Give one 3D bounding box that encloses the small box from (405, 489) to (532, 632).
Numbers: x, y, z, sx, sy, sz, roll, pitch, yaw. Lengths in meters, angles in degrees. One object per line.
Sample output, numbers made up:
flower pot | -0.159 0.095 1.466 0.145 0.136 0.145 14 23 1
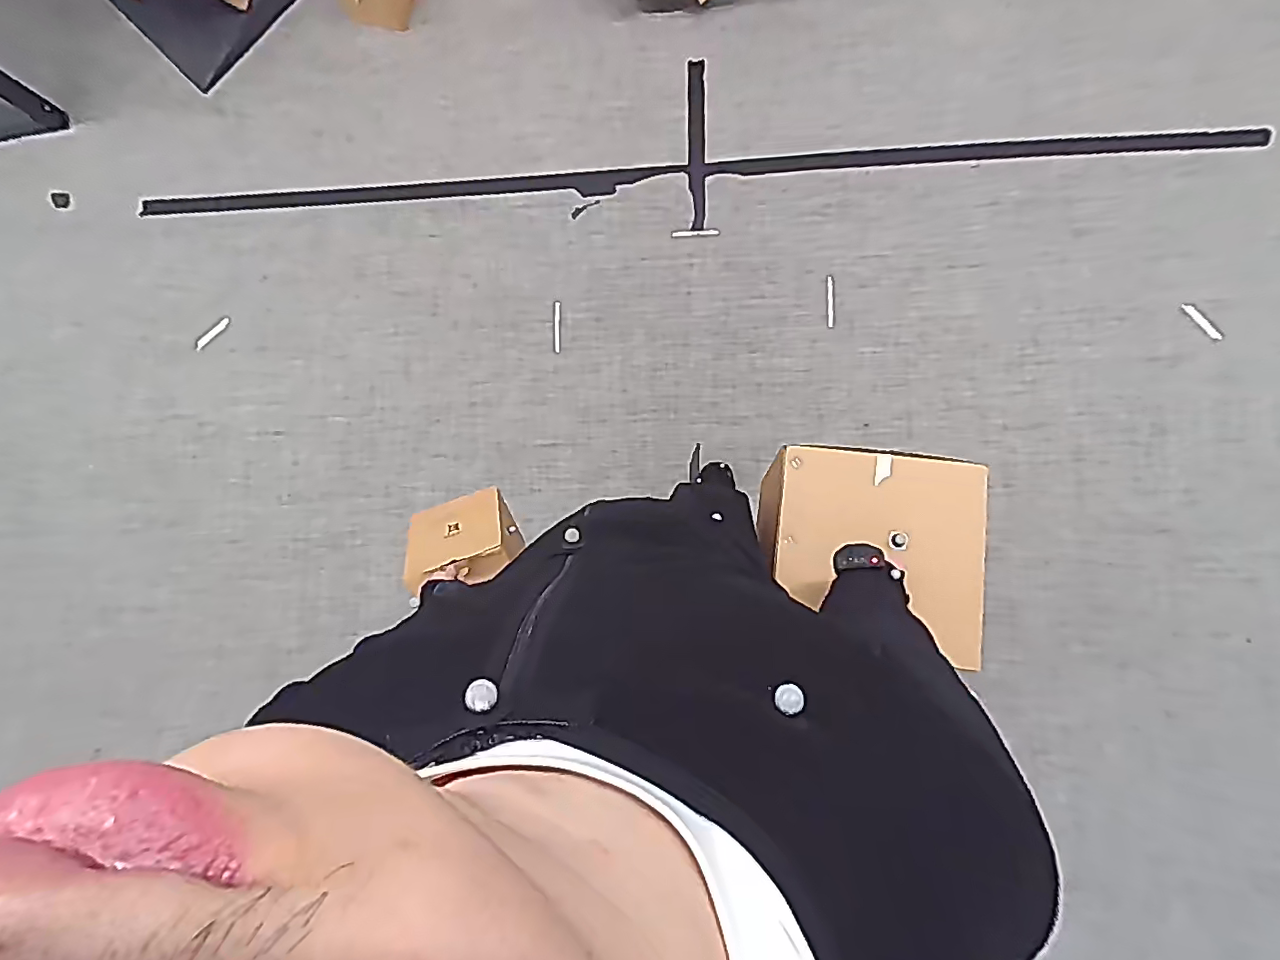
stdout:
small box | -0.305 0.152 0.987 0.168 0.179 0.176 -18 127 -5
